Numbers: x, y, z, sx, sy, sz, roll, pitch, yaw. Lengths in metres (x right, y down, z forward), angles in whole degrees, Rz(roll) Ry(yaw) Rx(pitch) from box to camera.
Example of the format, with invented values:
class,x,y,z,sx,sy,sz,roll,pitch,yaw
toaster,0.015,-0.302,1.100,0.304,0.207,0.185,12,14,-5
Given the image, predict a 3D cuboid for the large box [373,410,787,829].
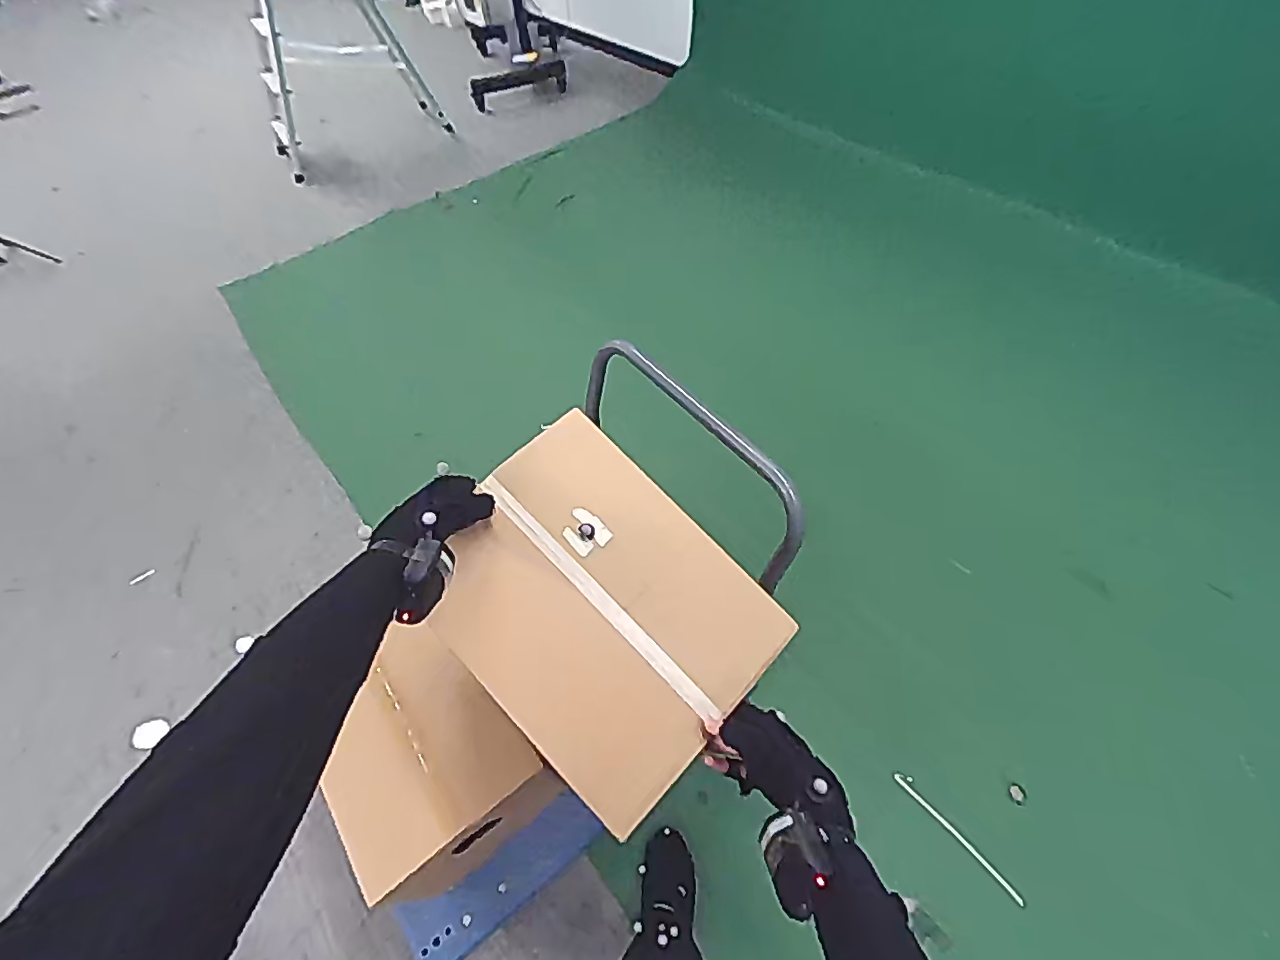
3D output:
class,x,y,z,sx,sy,sz,roll,pitch,yaw
large box,-0.079,0.187,0.777,0.408,0.320,0.320,44,70,10
